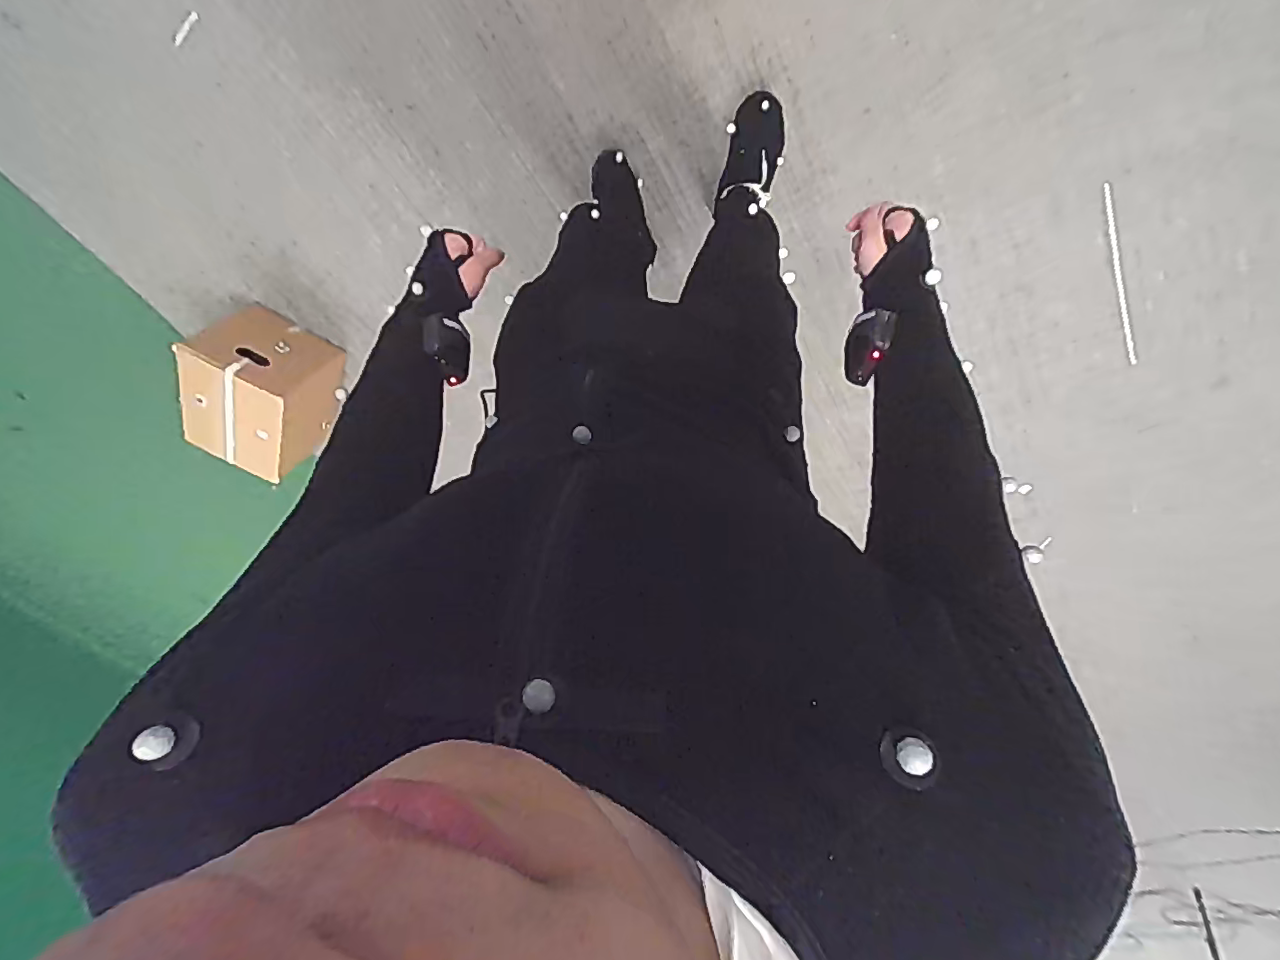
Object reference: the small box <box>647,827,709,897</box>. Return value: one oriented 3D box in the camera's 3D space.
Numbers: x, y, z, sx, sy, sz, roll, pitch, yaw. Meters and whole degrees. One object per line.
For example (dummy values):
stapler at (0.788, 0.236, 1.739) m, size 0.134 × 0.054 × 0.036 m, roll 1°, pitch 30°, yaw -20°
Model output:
small box at (0.150, 1.399, 1.984) m, size 0.179 × 0.176 × 0.168 m, roll -21°, pitch 123°, yaw 27°
